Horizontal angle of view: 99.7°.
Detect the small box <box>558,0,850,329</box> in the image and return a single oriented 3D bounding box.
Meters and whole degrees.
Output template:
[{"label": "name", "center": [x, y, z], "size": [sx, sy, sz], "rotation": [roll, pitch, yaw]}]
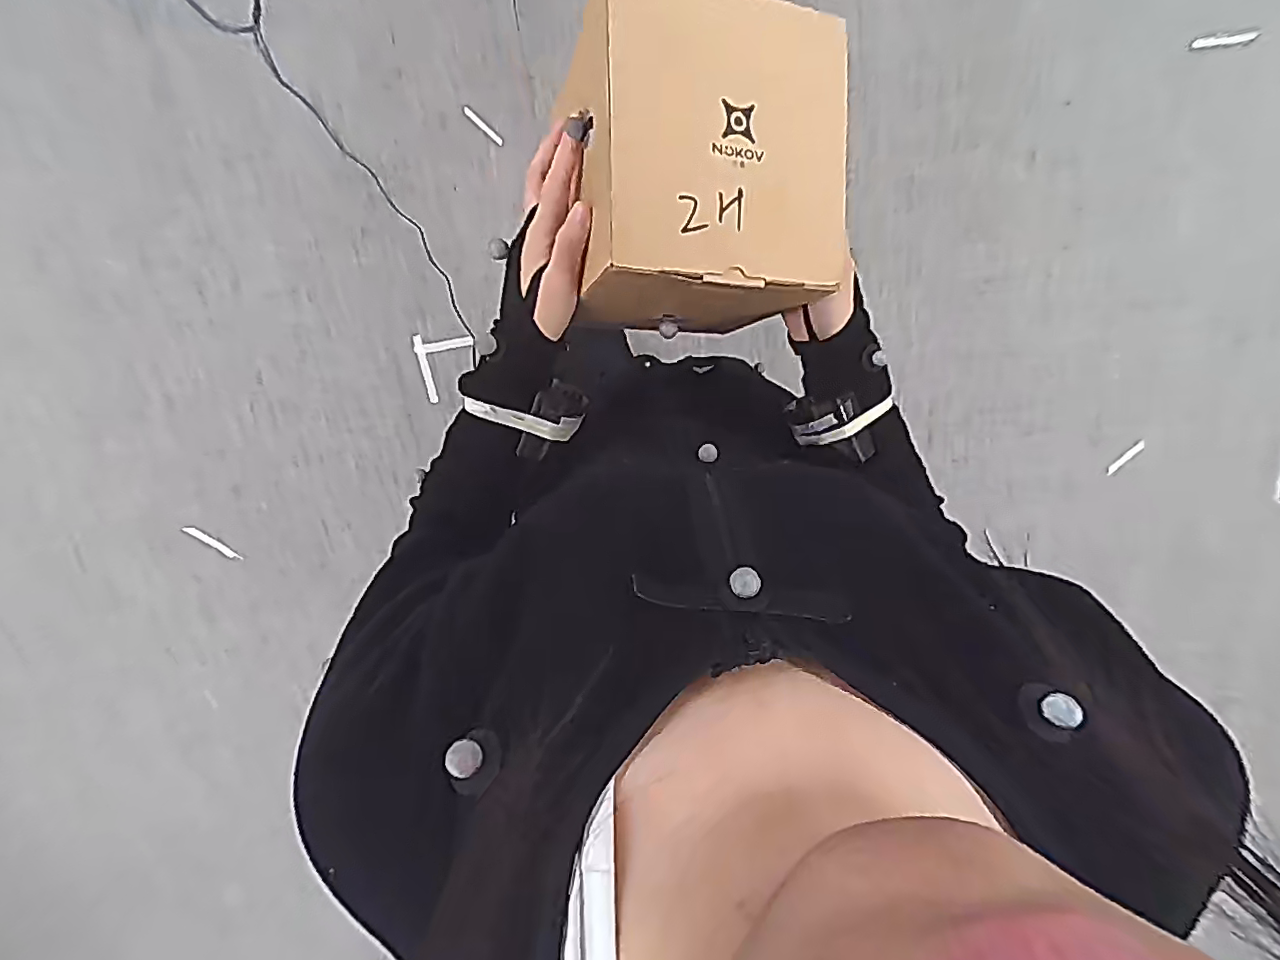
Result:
[{"label": "small box", "center": [0.034, -0.223, 0.406], "size": [0.168, 0.176, 0.179], "rotation": [-3, 94, -18]}]
